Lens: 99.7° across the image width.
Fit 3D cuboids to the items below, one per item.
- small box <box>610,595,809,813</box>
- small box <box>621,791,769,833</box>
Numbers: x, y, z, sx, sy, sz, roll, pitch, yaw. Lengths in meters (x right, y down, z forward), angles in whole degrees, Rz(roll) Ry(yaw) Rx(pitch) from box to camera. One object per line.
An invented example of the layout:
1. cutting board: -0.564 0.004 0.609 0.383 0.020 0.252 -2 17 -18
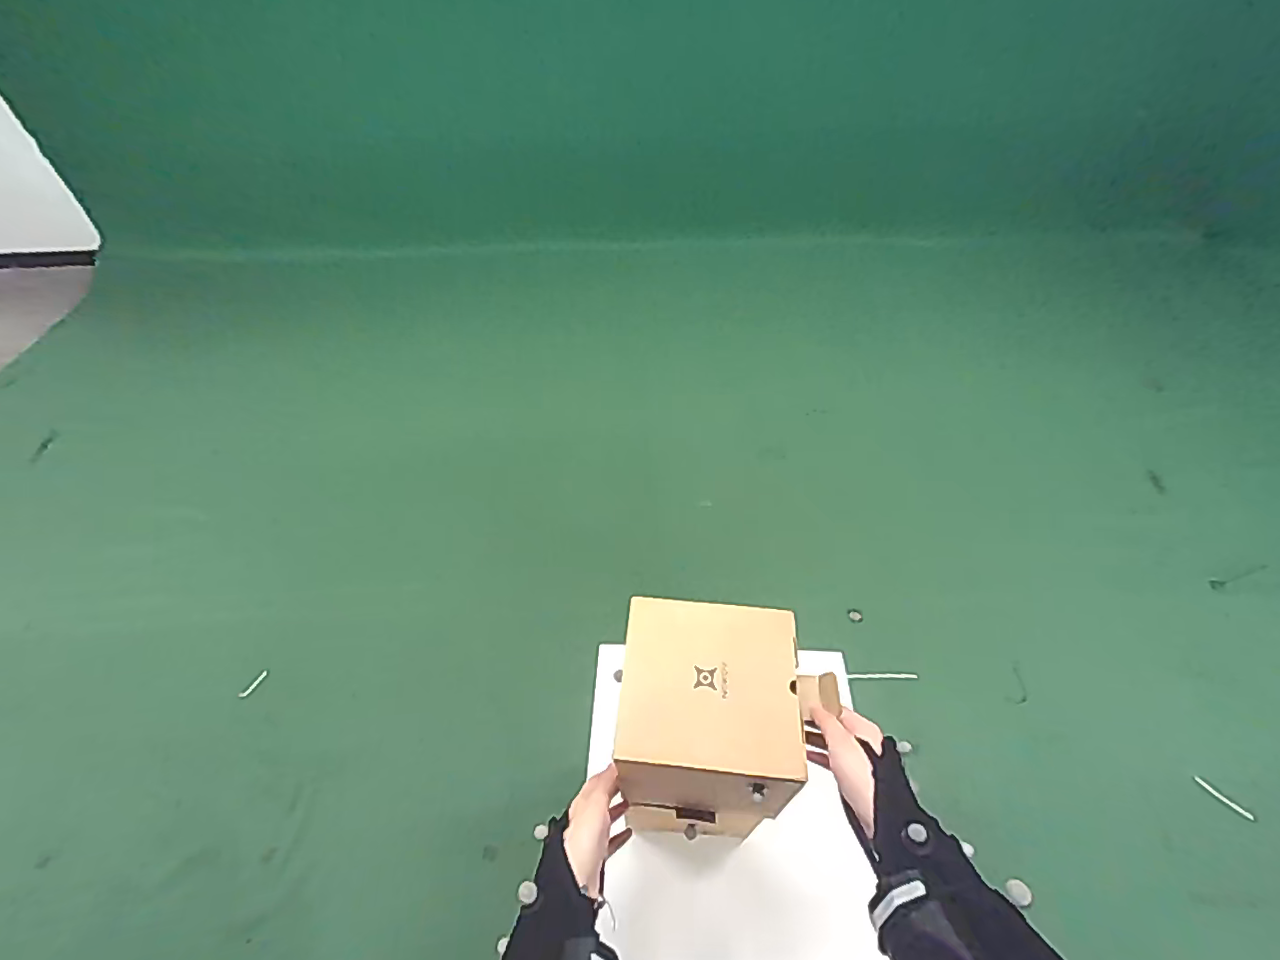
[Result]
1. small box: 0.068 0.241 0.578 0.179 0.176 0.168 4 49 4
2. small box: 0.067 0.346 0.704 0.168 0.176 0.179 2 50 2
